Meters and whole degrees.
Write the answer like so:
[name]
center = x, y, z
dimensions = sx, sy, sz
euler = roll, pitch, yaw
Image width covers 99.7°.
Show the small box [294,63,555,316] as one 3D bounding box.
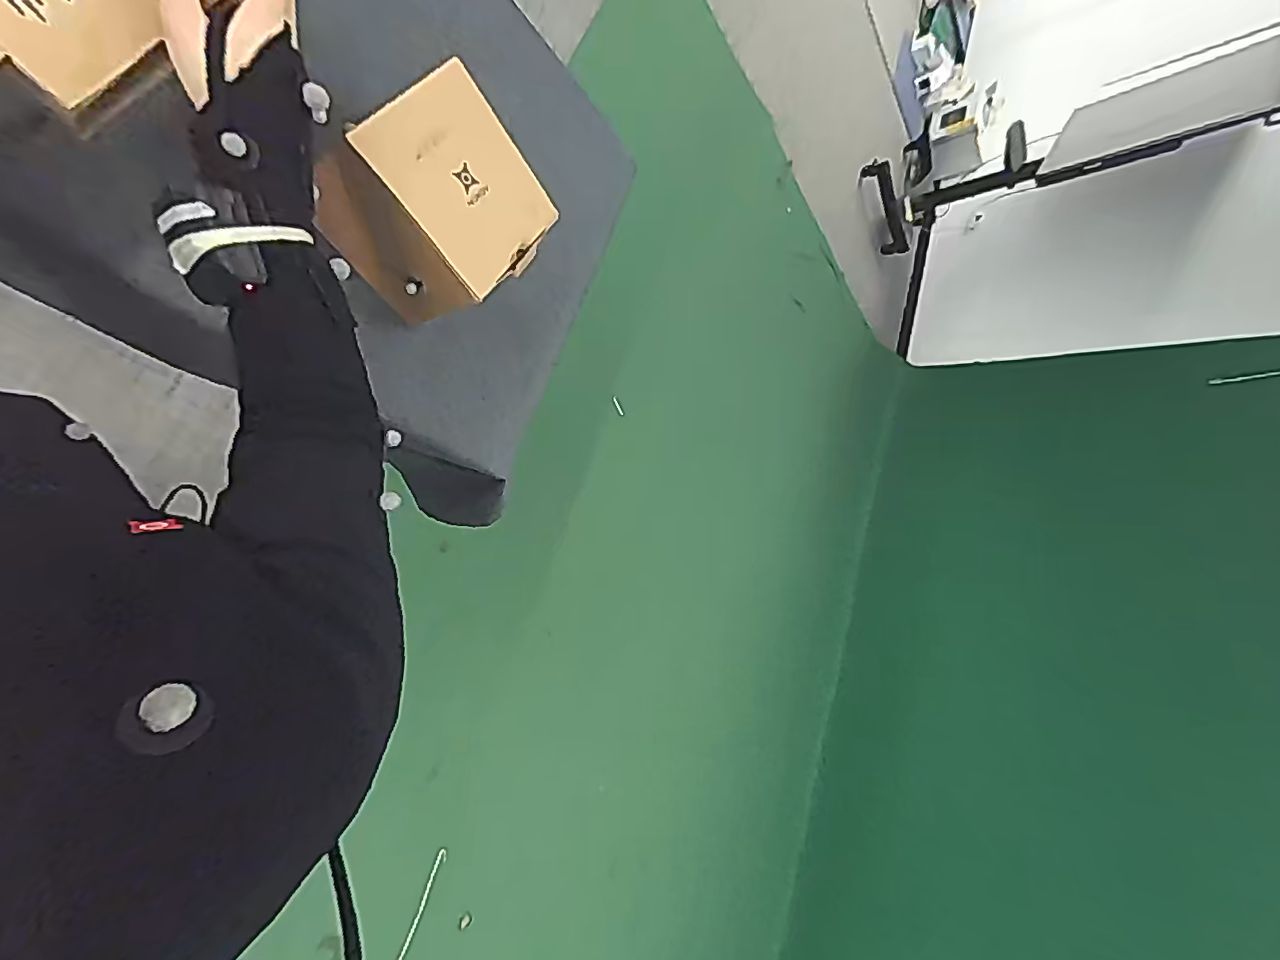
[small box]
center = -0.237, -0.305, 0.607
dimensions = 0.179, 0.176, 0.168
euler = 50, 56, -36
